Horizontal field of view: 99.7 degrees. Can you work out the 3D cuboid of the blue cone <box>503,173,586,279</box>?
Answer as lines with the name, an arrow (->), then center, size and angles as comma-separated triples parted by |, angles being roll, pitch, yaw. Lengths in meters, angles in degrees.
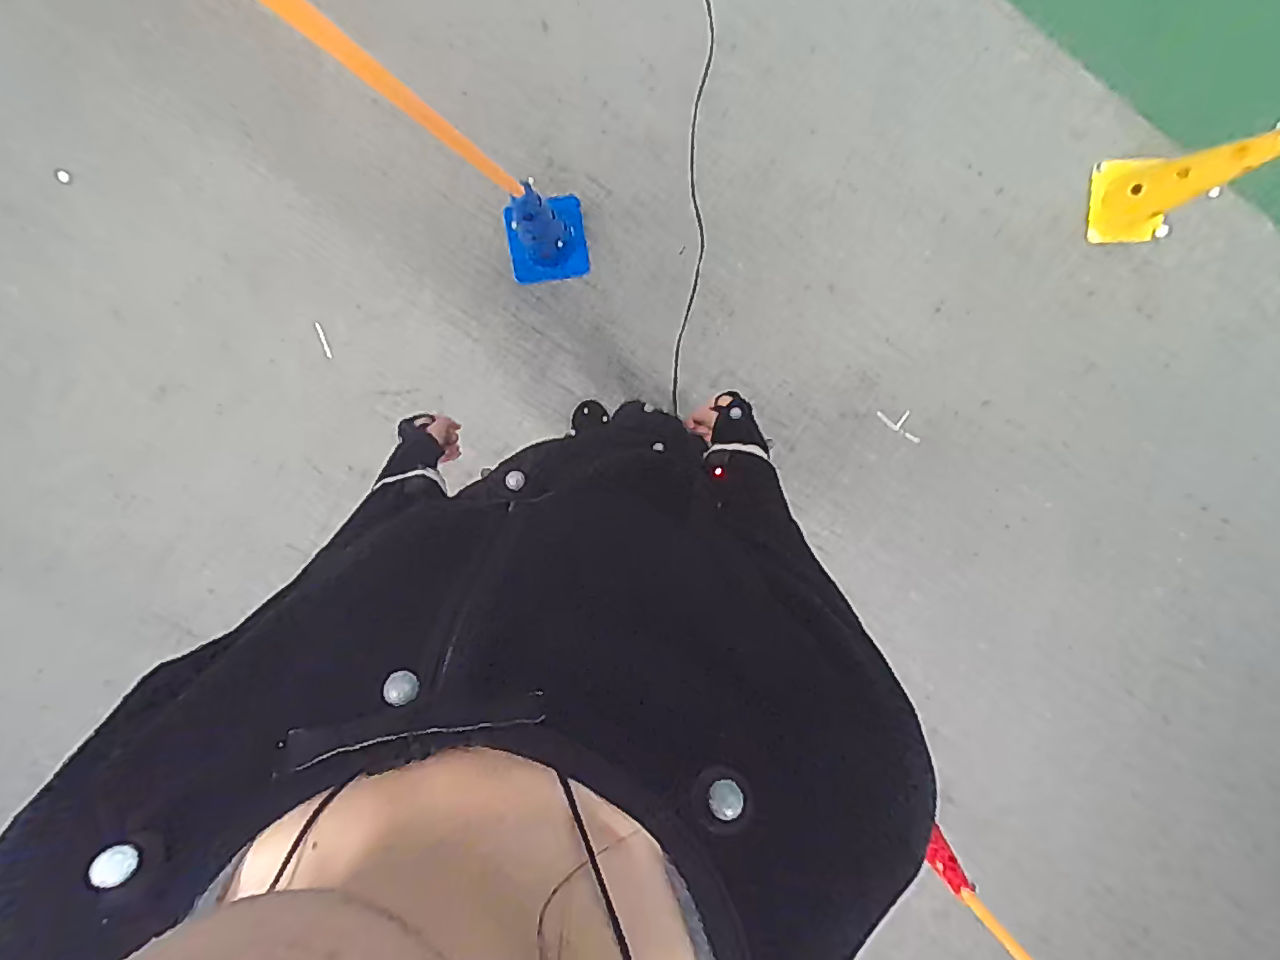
blue cone -> -0.240, -0.587, 1.209 | 0.193, 0.380, 0.192 | -10, 100, 2
